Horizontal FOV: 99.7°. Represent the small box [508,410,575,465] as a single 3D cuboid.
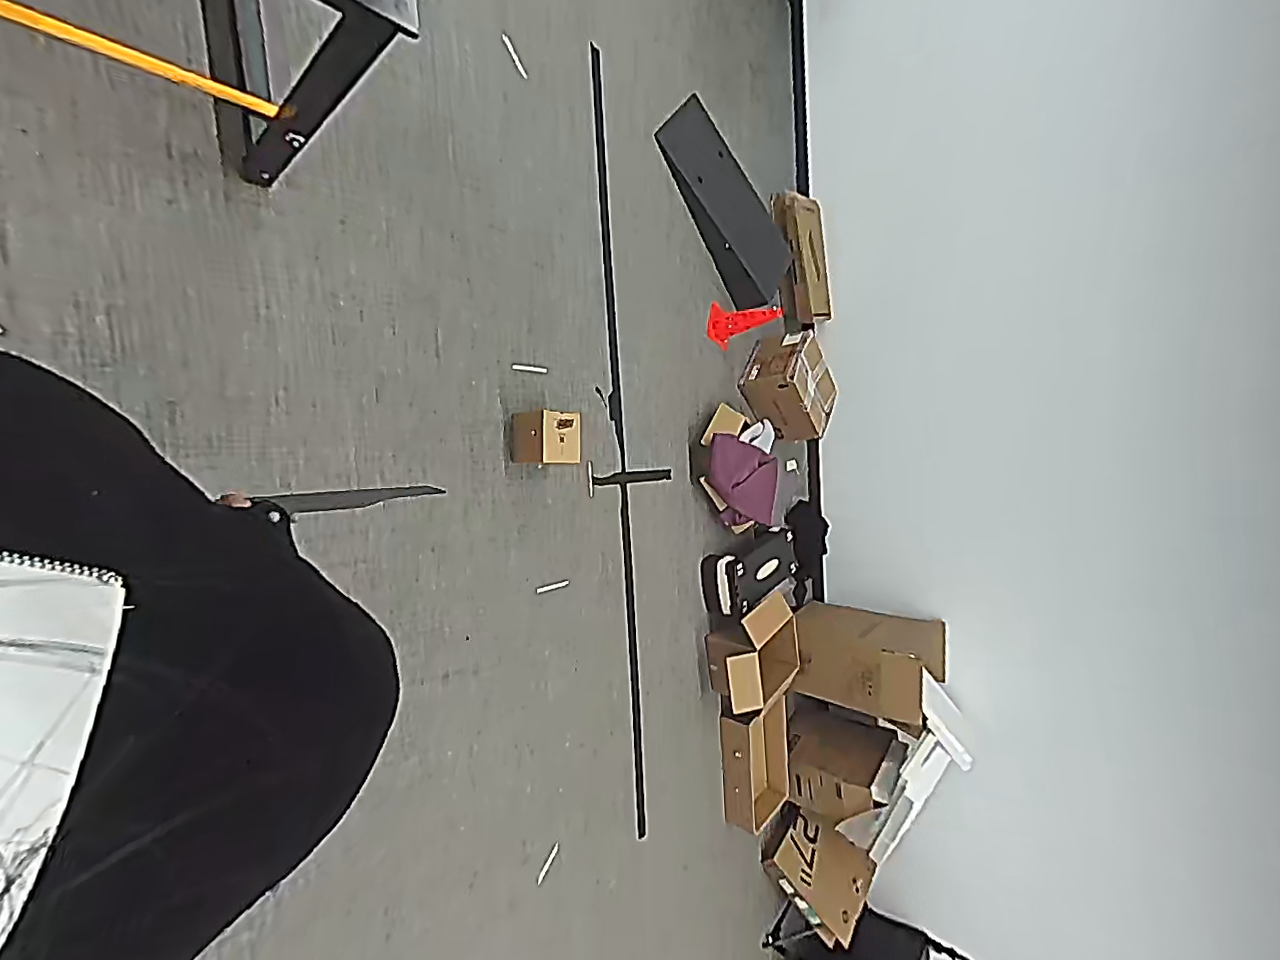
[{"bbox_3d":[-0.344,-0.142,1.874,0.168,0.176,0.179,-1,91,-50],"label":"small box"}]
